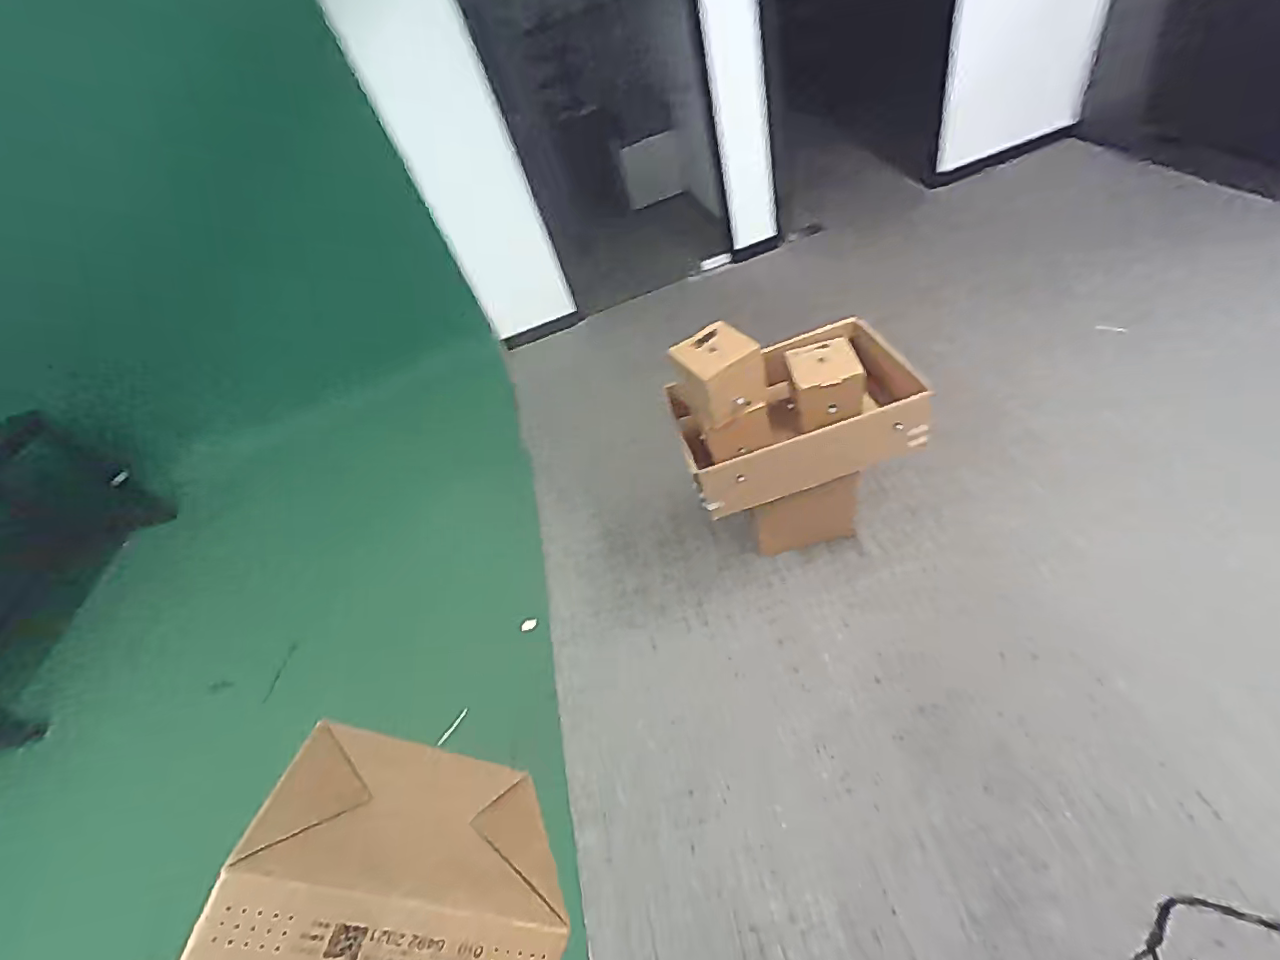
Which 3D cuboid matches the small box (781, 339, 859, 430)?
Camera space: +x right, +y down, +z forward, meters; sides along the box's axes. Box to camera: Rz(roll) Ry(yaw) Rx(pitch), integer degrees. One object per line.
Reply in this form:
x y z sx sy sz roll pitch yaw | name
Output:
0.494 -0.254 1.489 0.168 0.176 0.179 -11 46 9 | small box

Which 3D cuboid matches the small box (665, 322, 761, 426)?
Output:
0.190 -0.269 1.385 0.168 0.176 0.179 -32 47 -9 | small box
